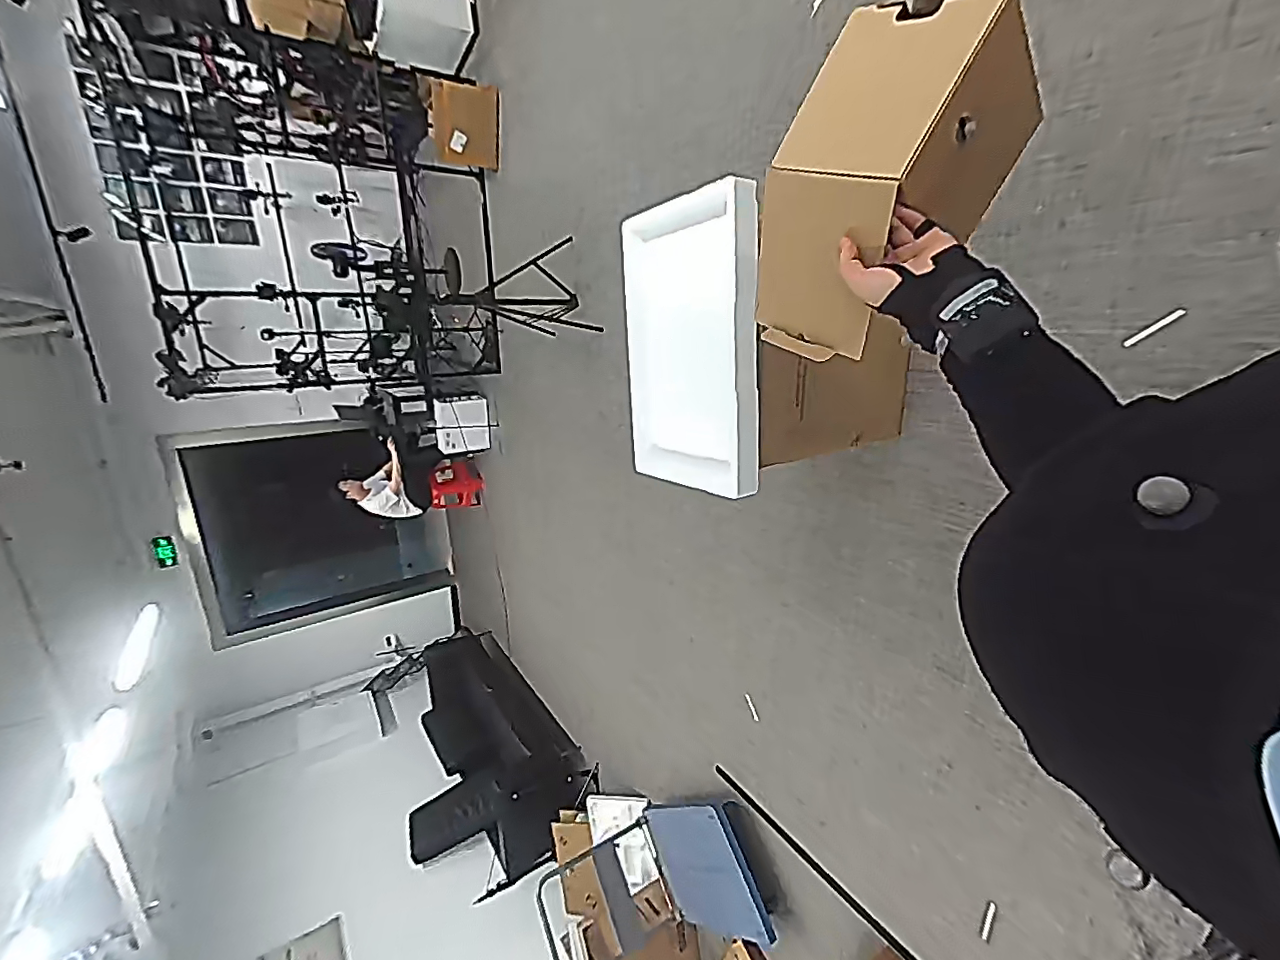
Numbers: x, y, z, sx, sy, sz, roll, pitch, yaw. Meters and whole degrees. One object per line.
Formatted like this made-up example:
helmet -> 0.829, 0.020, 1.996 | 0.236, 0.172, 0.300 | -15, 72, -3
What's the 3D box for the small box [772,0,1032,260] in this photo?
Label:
small box -> 0.285, -0.367, 0.584 | 0.168, 0.176, 0.179 | 40, 104, 43
